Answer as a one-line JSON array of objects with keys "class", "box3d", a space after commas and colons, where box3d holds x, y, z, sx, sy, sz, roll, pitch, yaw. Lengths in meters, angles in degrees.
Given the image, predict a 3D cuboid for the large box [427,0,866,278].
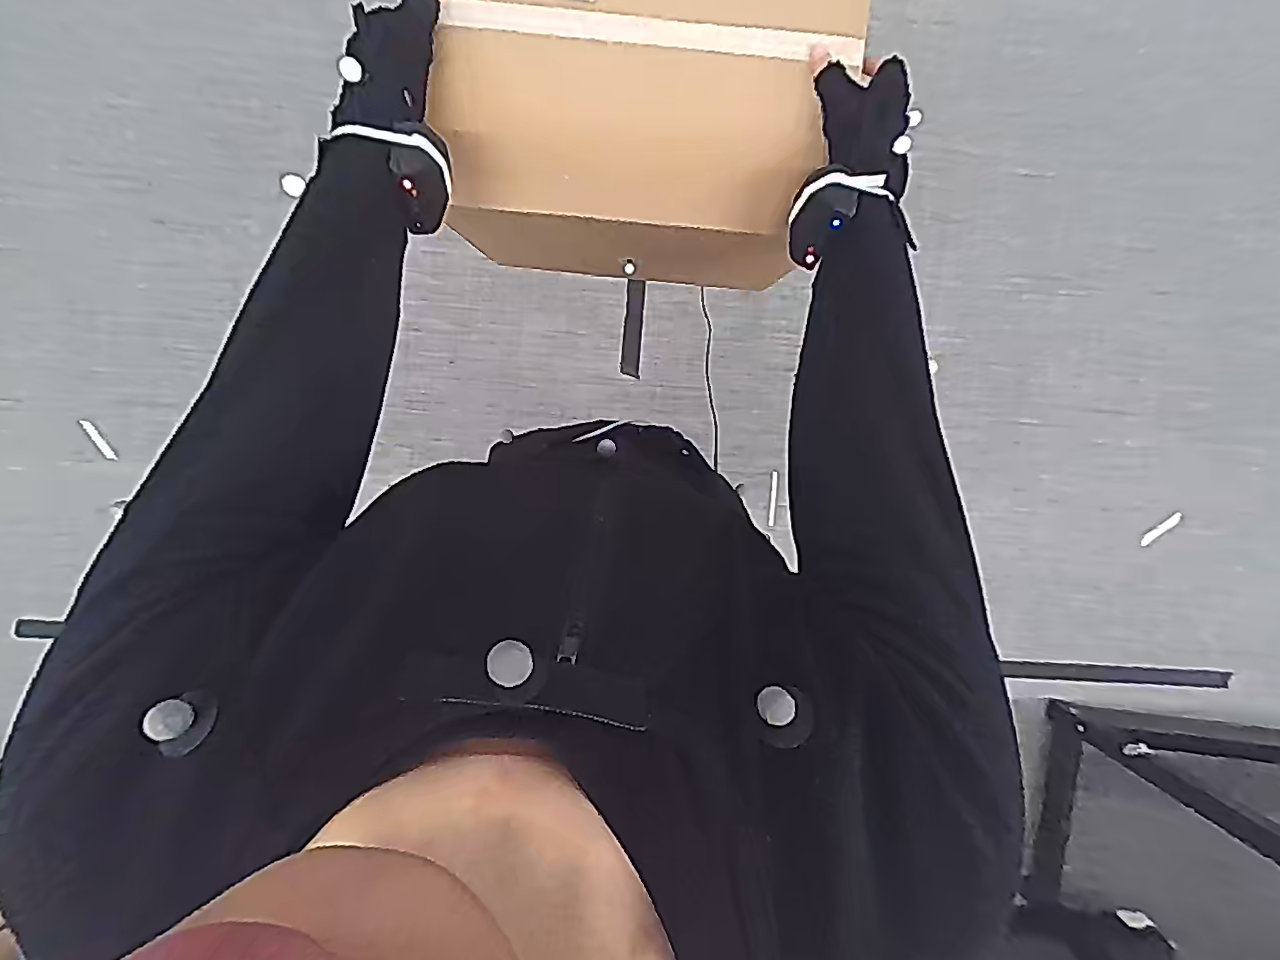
[{"class": "large box", "box3d": [0.006, -0.434, 0.640, 0.408, 0.320, 0.320, 5, 100, -1]}]
